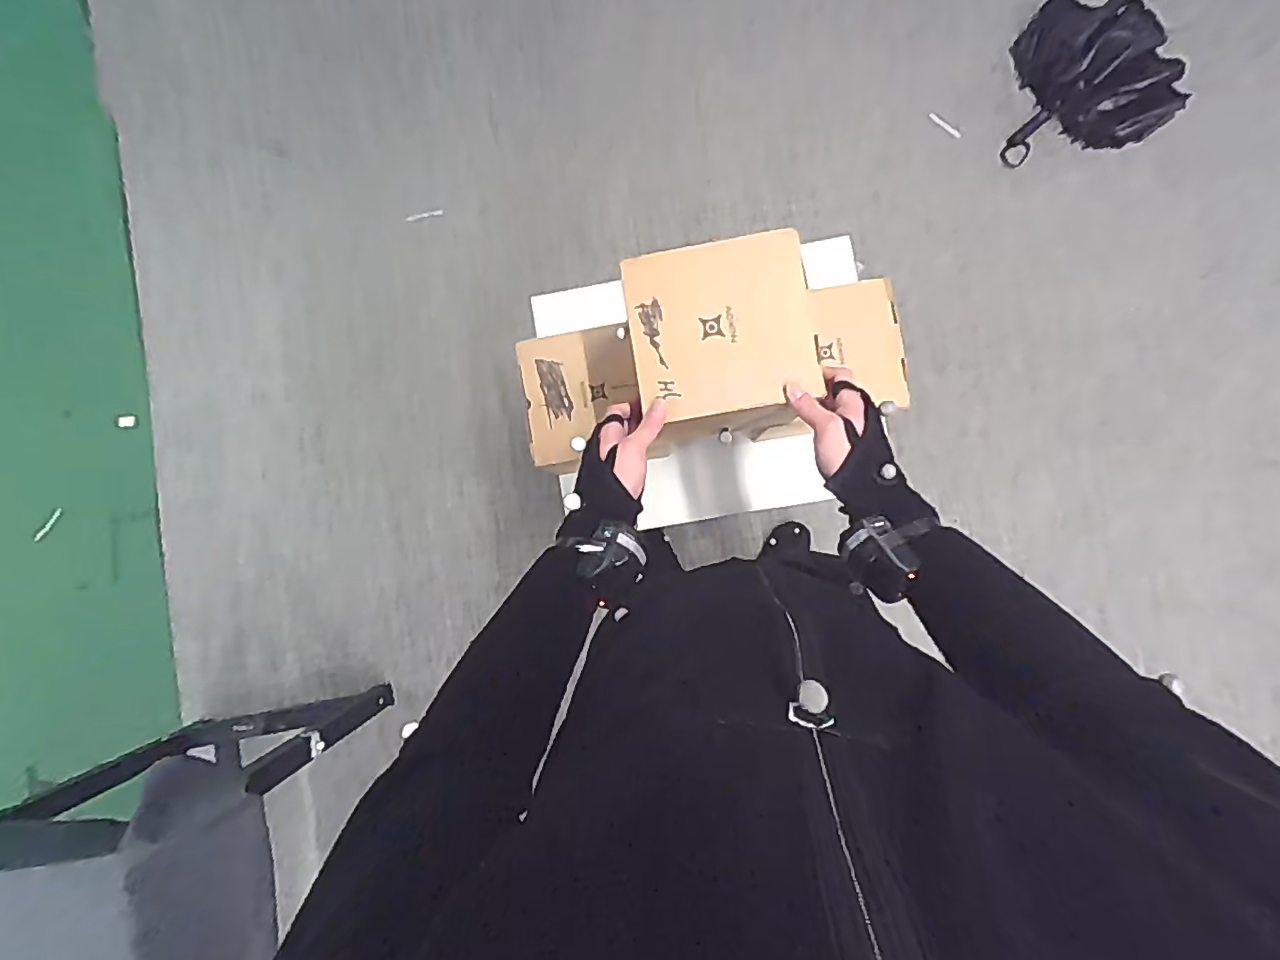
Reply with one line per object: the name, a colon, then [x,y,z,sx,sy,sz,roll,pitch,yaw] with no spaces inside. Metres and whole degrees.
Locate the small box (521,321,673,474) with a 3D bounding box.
small box: [-0.050,-0.105,0.751,0.179,0.176,0.168,-9,87,0]

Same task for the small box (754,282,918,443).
small box: [0.246,-0.149,0.740,0.179,0.176,0.168,-8,86,4]

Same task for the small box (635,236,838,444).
small box: [0.090,-0.136,0.585,0.179,0.176,0.168,-8,87,1]
